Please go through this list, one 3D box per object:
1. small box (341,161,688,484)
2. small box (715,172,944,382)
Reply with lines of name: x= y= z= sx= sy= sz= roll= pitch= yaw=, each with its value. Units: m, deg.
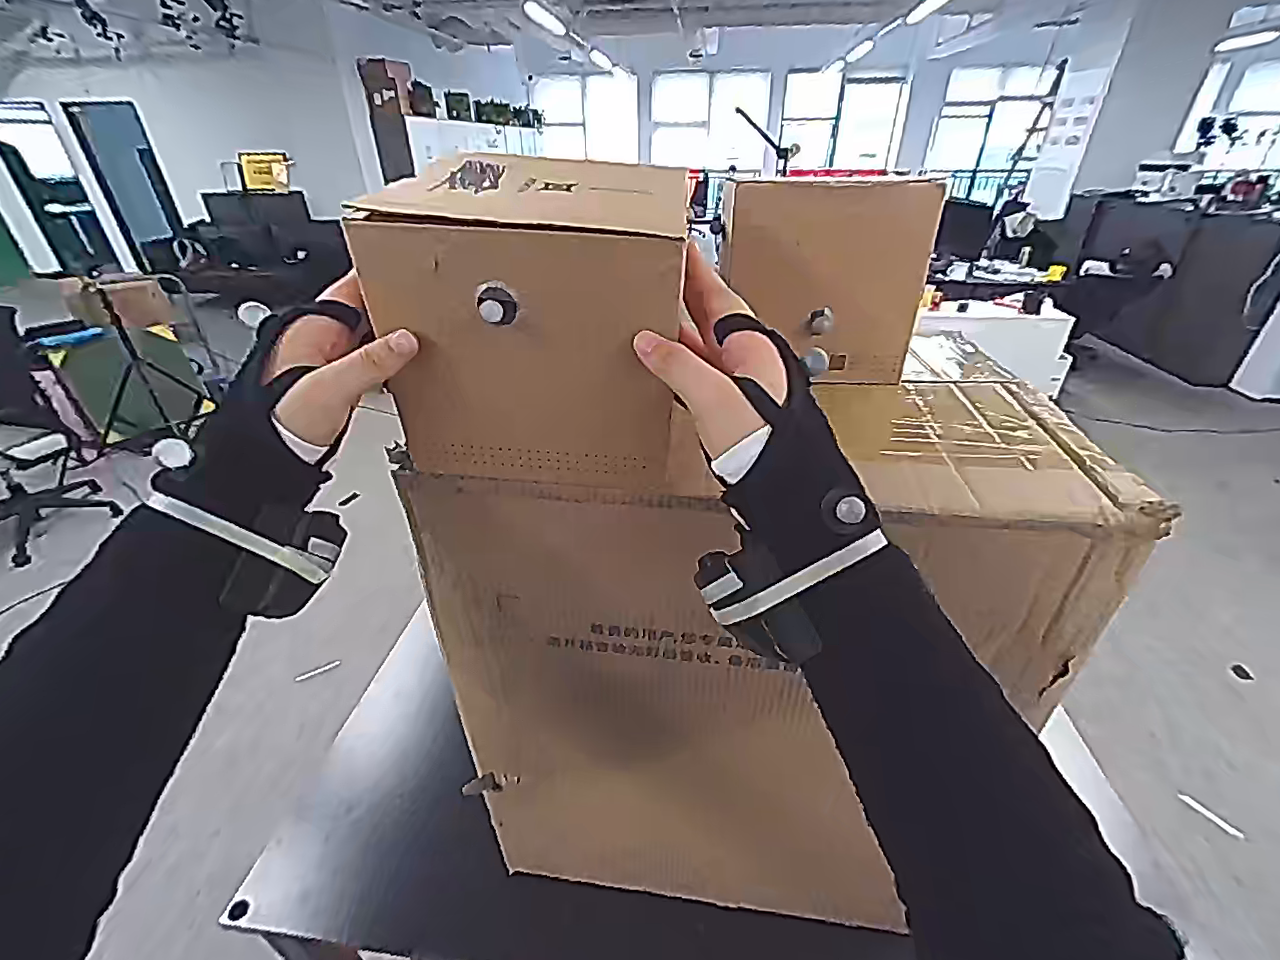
small box: x=-0.061 y=-0.112 z=0.377 sx=0.179 sy=0.176 sz=0.168 roll=4 pitch=39 yaw=2
small box: x=0.163 y=-0.205 z=0.534 sx=0.168 sy=0.176 sz=0.179 roll=1 pitch=30 yaw=5
